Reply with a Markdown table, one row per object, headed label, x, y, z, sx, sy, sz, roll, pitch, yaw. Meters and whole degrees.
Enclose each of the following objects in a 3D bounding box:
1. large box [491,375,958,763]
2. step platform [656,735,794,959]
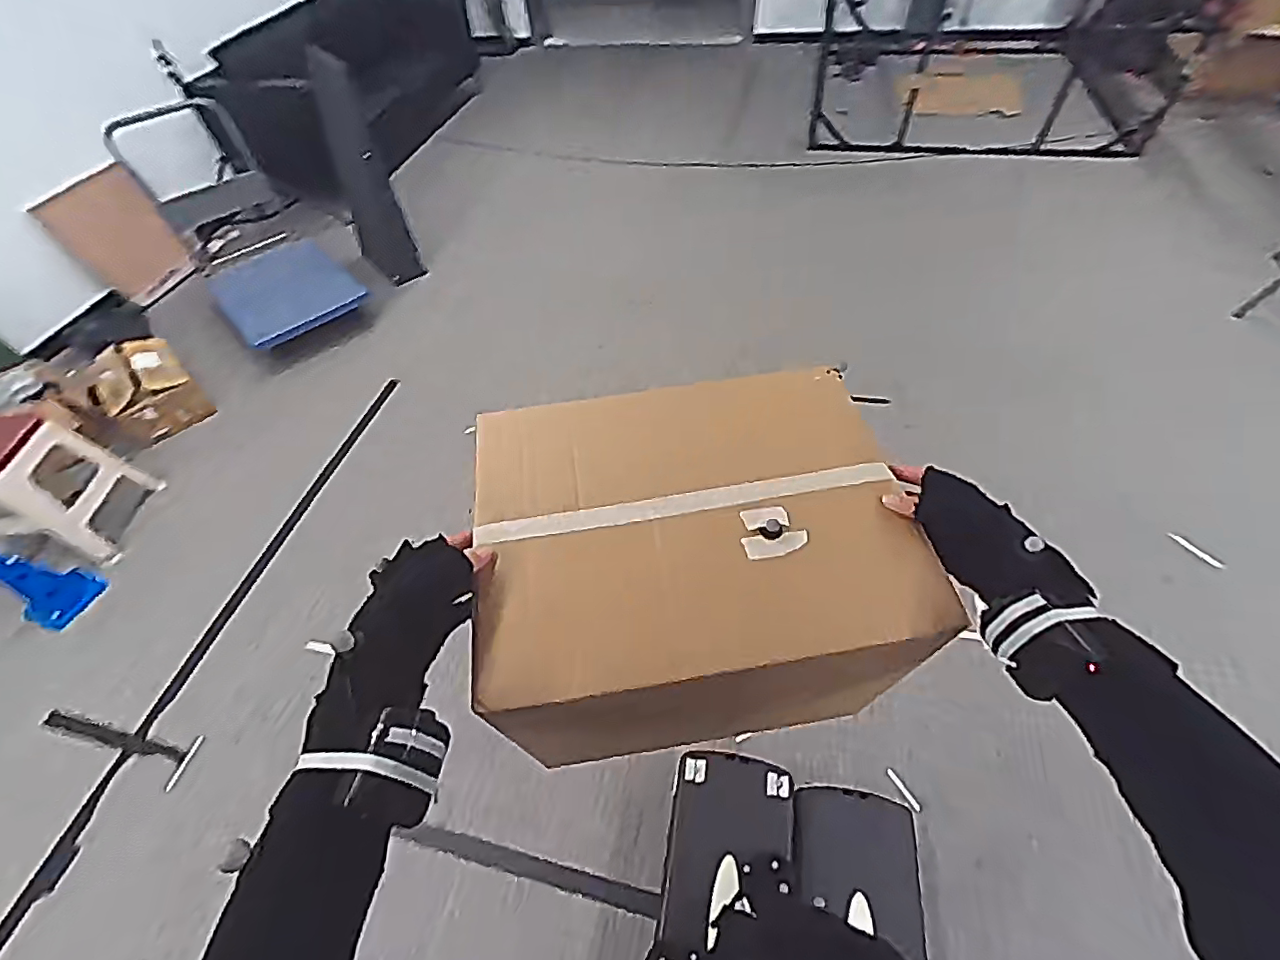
| label | x | y | z | sx | sy | sz | roll | pitch | yaw |
| --- | --- | --- | --- | --- | --- | --- | --- | --- | --- |
| large box | 0.058 | 0.115 | 0.651 | 0.408 | 0.320 | 0.320 | -8 | 56 | -4 |
| step platform | 0.193 | 0.957 | 1.222 | 0.286 | 0.204 | 0.684 | 5 | 52 | 9 |
